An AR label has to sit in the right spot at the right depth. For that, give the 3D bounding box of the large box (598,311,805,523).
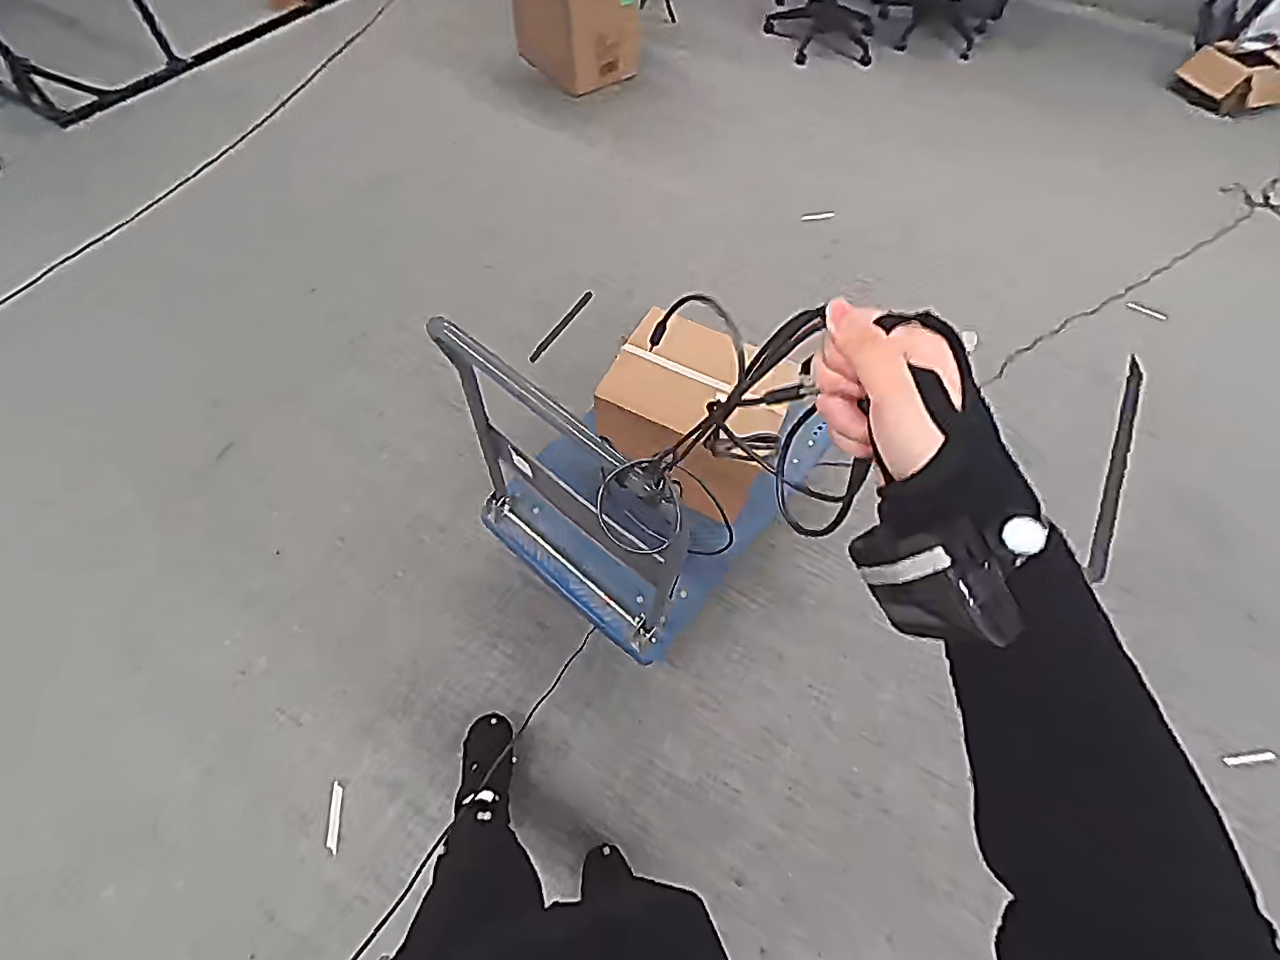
[{"bbox_3d":[0.135,-0.152,1.362,0.408,0.320,0.320,25,64,10],"label":"large box"}]
